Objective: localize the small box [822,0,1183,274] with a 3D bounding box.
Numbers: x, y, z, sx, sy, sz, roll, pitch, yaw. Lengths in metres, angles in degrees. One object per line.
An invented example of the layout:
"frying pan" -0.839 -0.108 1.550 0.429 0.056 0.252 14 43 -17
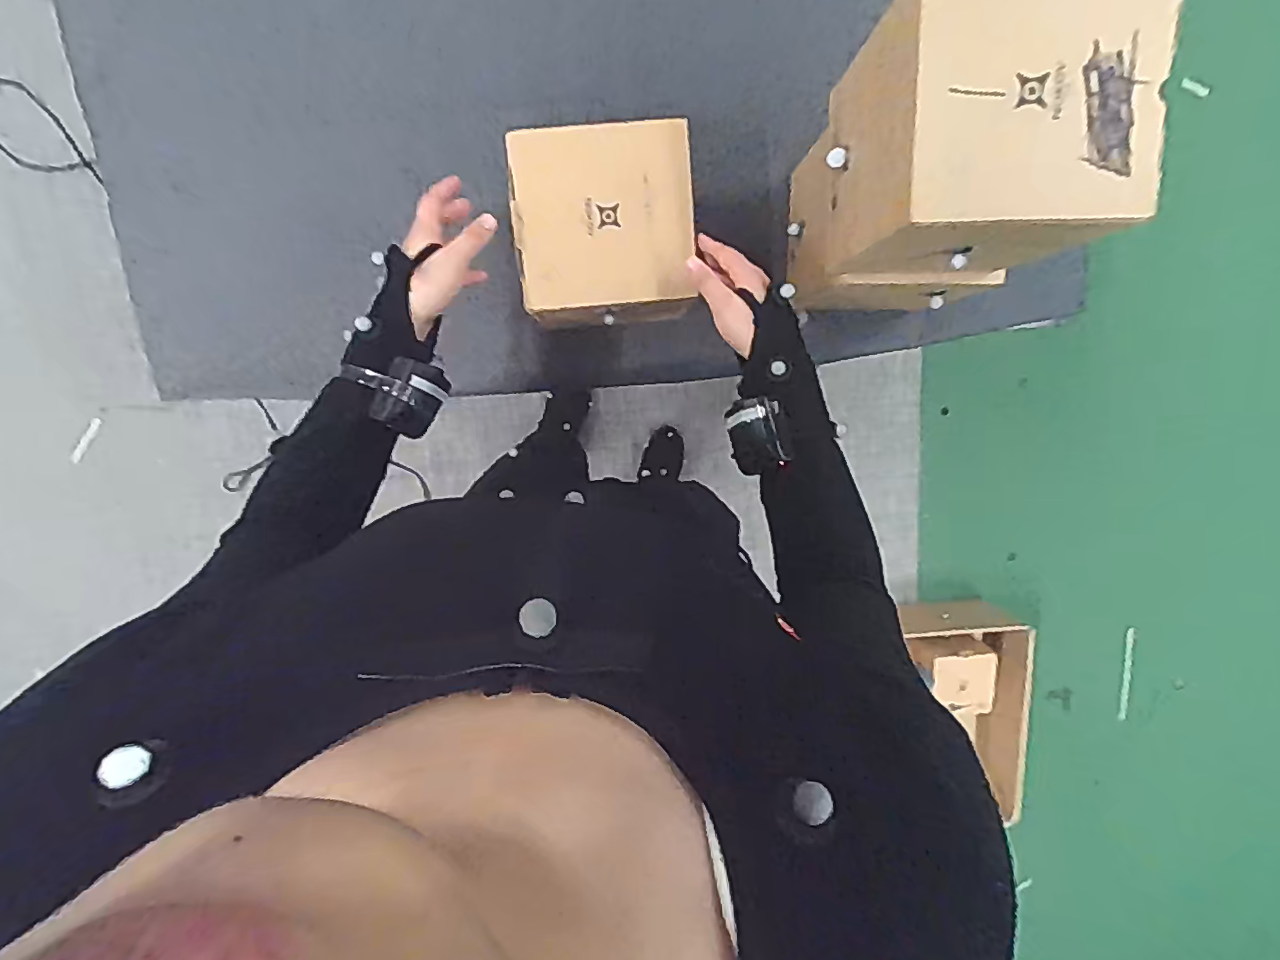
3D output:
"small box" 0.266 -0.270 0.439 0.179 0.176 0.168 -2 99 -1

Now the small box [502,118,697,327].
"small box" -0.040 -0.266 0.598 0.179 0.176 0.168 -6 101 -2

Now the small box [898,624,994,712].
"small box" 0.831 0.508 1.483 0.168 0.176 0.179 -3 101 -1

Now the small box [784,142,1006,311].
"small box" 0.275 -0.287 0.602 0.179 0.176 0.168 0 99 -2
